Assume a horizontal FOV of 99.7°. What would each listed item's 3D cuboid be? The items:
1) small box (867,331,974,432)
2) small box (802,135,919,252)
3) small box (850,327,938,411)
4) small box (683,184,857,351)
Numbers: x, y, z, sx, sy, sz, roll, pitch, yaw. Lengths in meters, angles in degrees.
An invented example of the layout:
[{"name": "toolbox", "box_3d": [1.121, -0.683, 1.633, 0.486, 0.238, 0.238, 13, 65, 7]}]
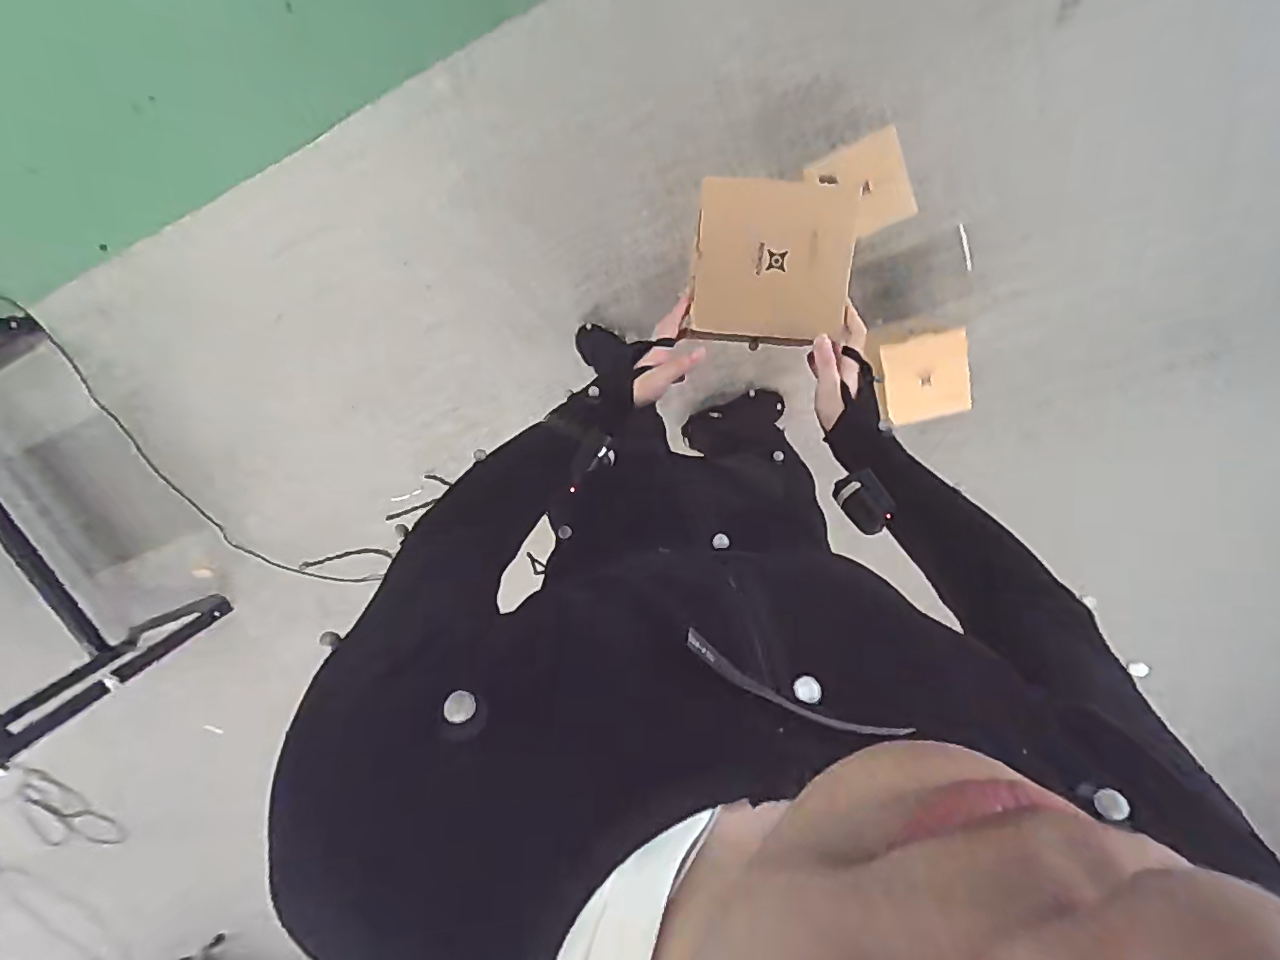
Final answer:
[{"name": "small box", "box_3d": [0.619, -0.223, 1.207, 0.168, 0.176, 0.179, -12, 106, 13]}, {"name": "small box", "box_3d": [0.442, -0.567, 1.118, 0.179, 0.176, 0.168, -20, 105, 14]}, {"name": "small box", "box_3d": [0.634, -0.282, 1.358, 0.179, 0.176, 0.168, -10, 108, 14]}, {"name": "small box", "box_3d": [0.148, -0.254, 0.682, 0.179, 0.176, 0.168, 4, 102, 2]}]
